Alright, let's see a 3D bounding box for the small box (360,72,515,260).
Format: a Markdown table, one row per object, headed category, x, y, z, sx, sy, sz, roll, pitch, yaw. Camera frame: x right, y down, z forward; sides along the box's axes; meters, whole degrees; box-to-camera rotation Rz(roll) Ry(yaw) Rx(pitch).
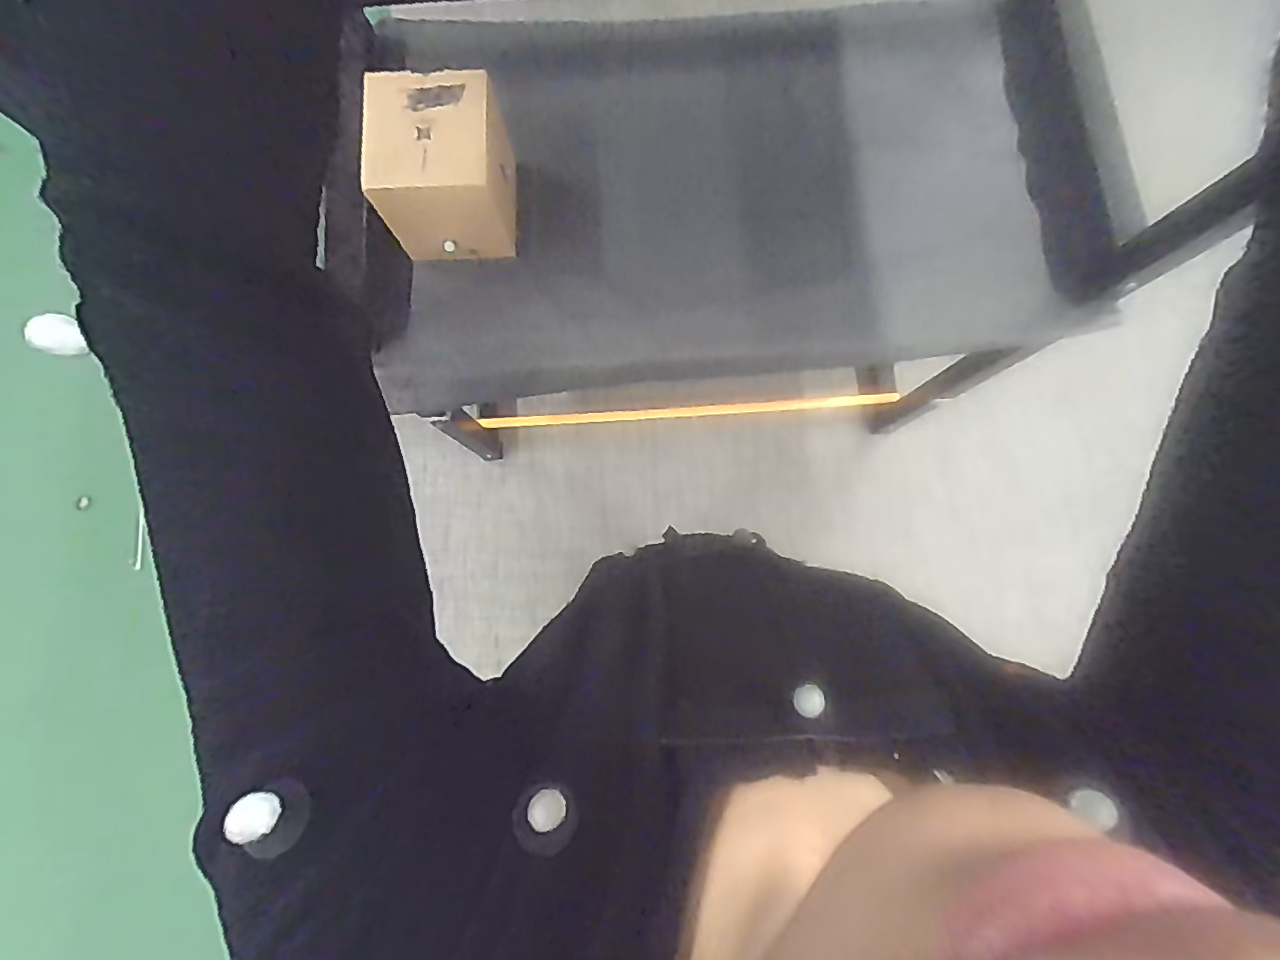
| category | x | y | z | sx | sy | sz | roll | pitch | yaw |
| --- | --- | --- | --- | --- | --- | --- | --- | --- | --- |
| small box | -0.284 | -0.450 | 0.793 | 0.168 | 0.176 | 0.179 | -3 | 81 | 0 |
